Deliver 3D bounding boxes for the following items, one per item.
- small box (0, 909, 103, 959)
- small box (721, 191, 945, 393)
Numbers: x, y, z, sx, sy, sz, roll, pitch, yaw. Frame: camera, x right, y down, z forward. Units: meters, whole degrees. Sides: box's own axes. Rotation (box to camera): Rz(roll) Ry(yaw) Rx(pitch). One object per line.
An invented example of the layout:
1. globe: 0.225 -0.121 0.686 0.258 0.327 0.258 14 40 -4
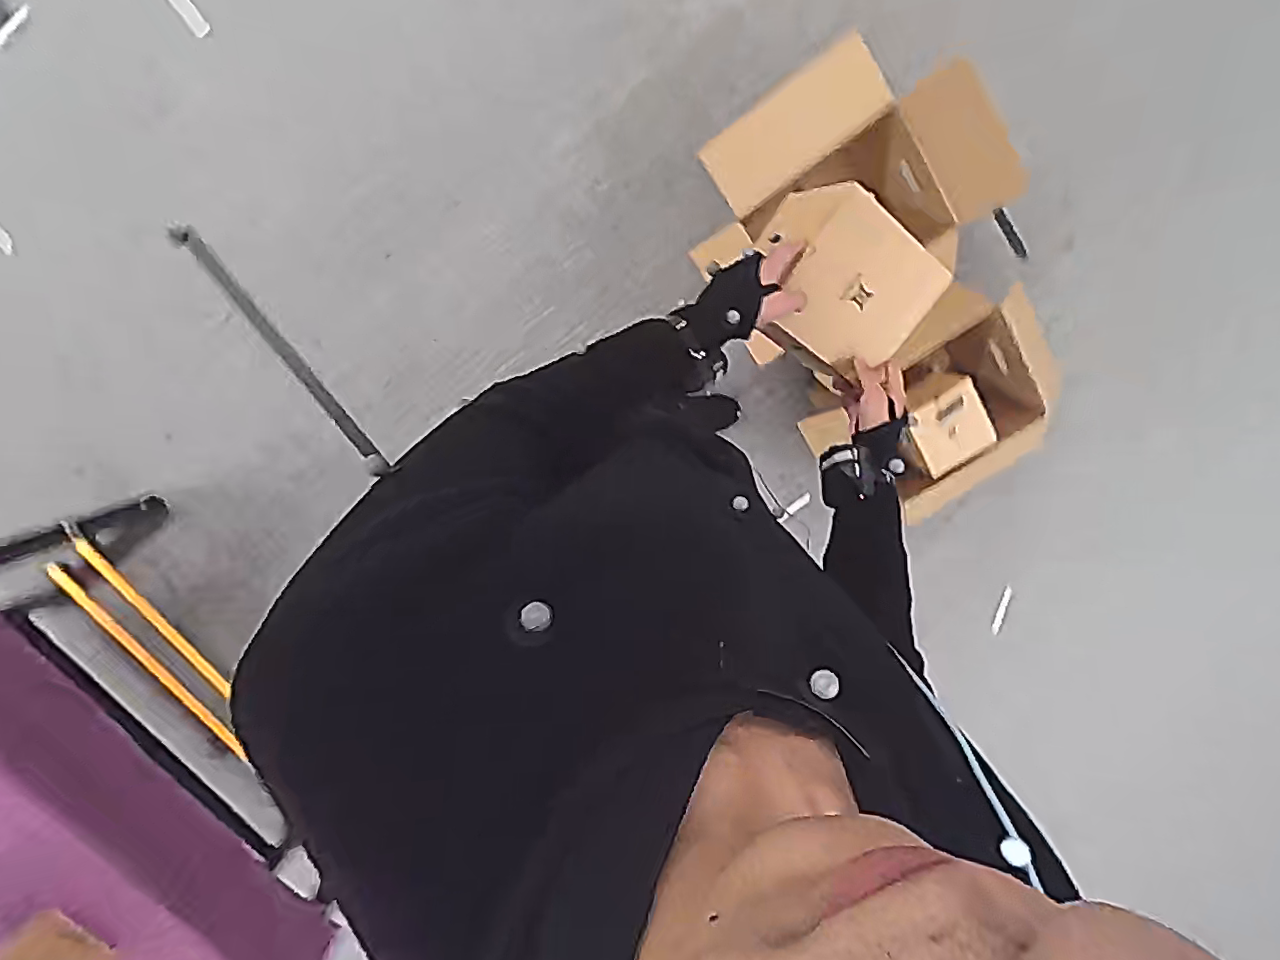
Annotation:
1. small box: -1.195 0.975 1.026 0.179 0.176 0.168 -36 101 8
2. small box: 0.234 -0.242 0.698 0.179 0.176 0.168 29 106 -19
